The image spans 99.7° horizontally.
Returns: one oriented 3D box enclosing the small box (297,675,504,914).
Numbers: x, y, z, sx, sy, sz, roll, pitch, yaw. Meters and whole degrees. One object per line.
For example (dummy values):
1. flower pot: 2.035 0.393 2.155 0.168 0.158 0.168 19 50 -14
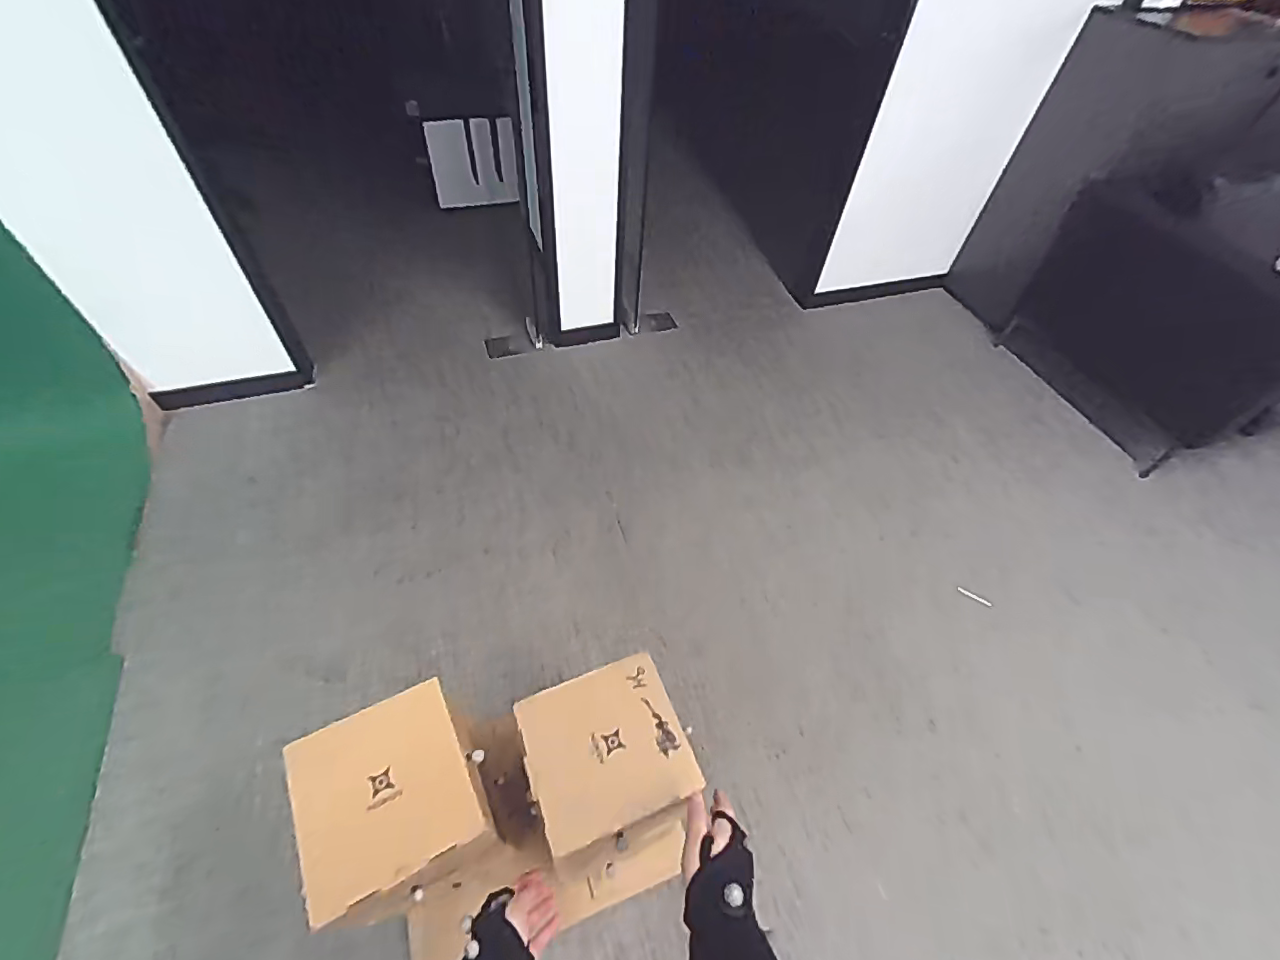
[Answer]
1. small box: -0.270 0.366 0.632 0.168 0.176 0.179 -20 58 -21
